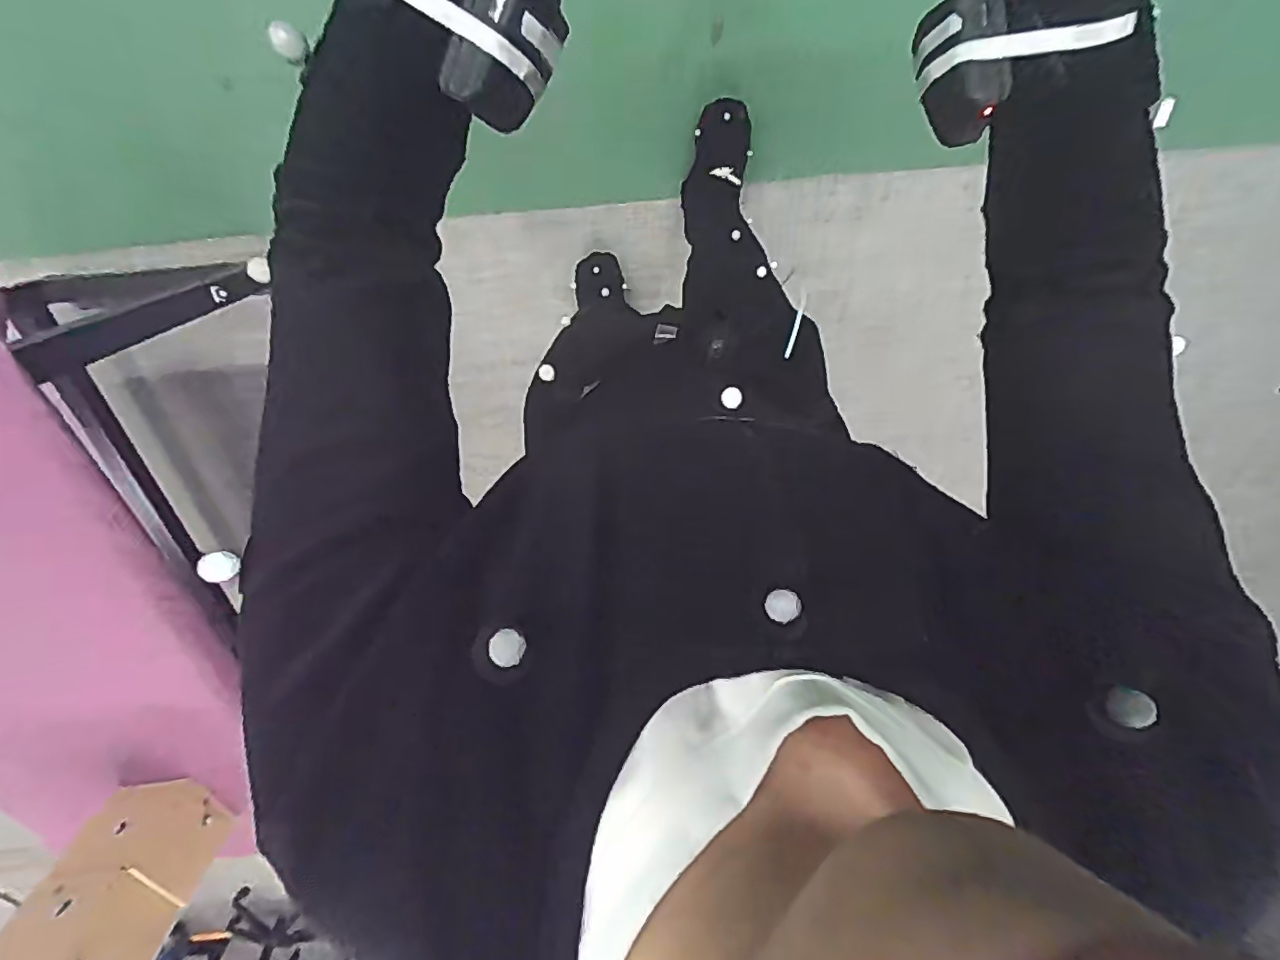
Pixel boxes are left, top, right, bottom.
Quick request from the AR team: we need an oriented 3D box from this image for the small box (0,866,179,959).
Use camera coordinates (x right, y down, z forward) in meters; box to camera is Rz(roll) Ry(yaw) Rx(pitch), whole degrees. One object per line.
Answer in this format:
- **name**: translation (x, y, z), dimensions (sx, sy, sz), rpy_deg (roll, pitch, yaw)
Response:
- **small box**: translation (-0.973, 0.806, 0.938), dimensions (0.168, 0.176, 0.179), rpy_deg (-11, 121, 5)
